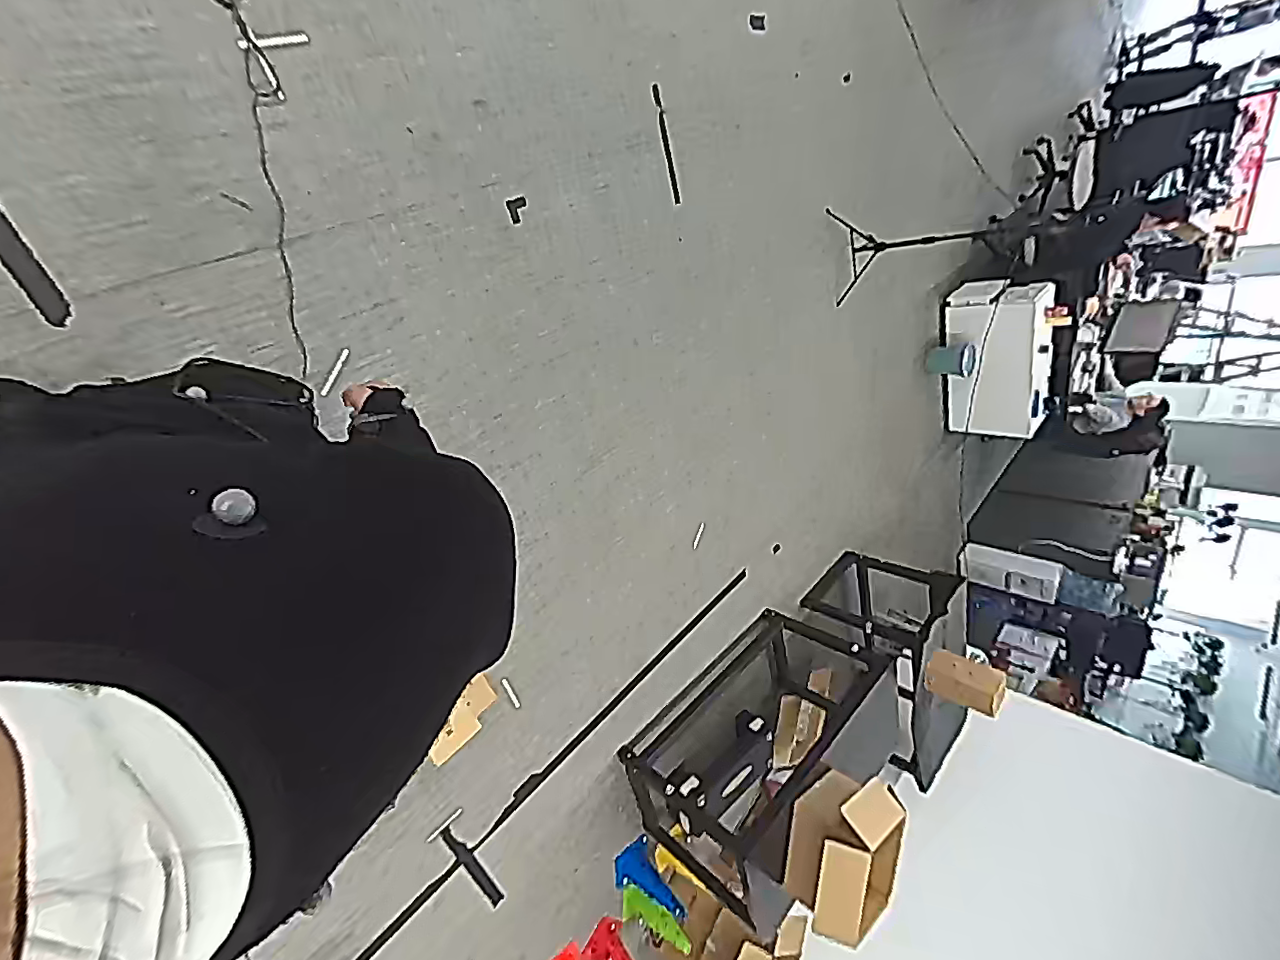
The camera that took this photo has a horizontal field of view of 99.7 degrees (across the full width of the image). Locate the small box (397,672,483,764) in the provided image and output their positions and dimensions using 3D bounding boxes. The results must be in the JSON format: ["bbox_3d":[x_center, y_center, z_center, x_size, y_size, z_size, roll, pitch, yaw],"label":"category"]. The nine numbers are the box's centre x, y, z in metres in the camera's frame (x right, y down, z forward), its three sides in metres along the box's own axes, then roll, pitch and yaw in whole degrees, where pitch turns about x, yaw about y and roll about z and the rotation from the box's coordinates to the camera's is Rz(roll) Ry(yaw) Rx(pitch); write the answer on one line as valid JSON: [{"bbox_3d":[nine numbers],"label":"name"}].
[{"bbox_3d":[-0.636,0.747,1.715,0.168,0.176,0.179,-38,123,-31],"label":"small box"}]
